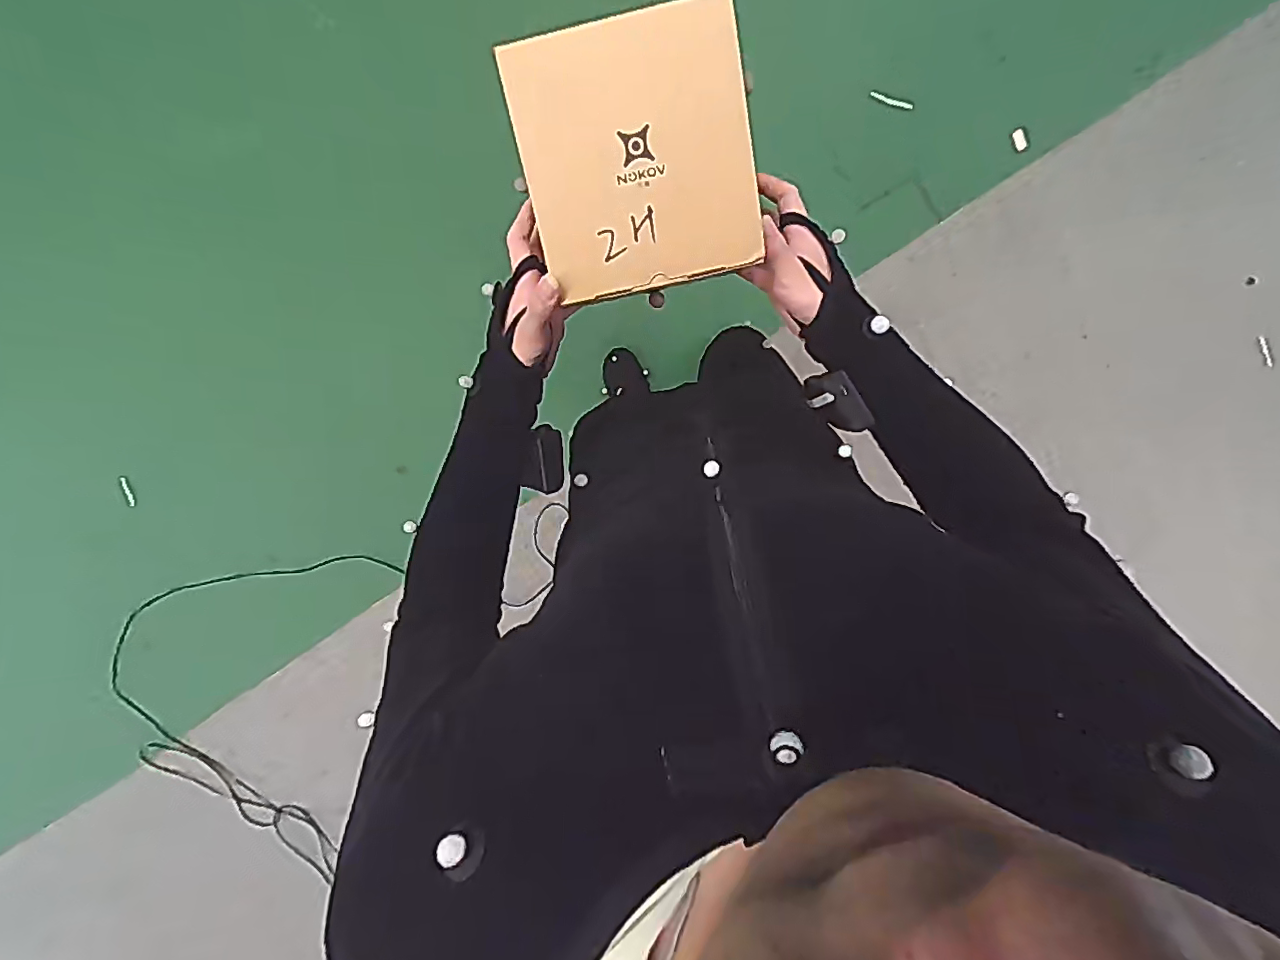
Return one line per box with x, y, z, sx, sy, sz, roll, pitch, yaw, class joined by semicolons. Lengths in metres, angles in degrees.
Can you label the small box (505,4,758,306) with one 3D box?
-0.003;-0.257;0.477;0.168;0.176;0.179;-10;108;4;small box
